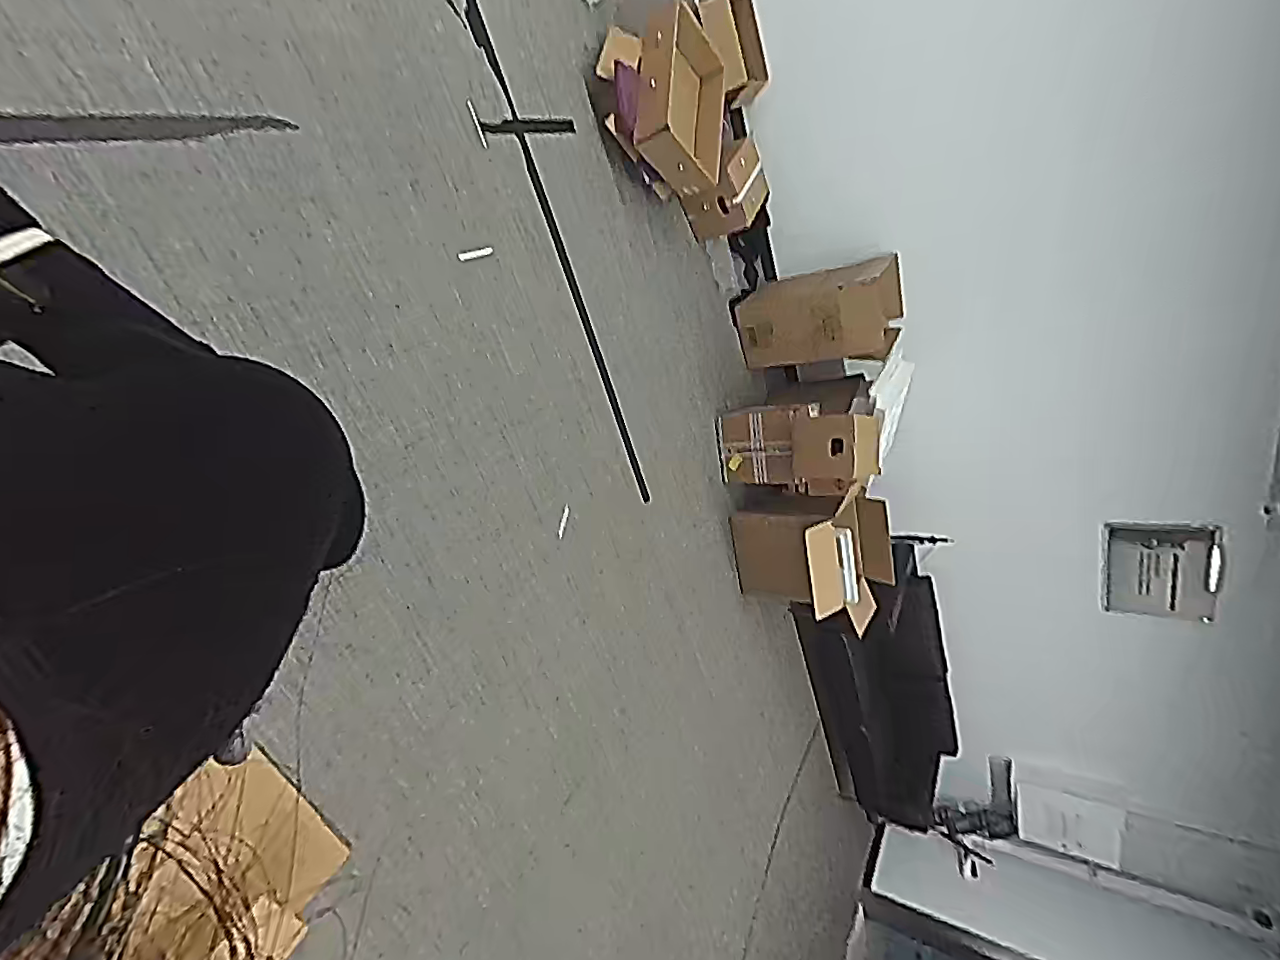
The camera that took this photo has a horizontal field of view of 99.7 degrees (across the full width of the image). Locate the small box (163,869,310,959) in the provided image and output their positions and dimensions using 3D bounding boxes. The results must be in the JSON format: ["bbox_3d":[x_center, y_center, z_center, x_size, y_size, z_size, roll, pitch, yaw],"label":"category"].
[{"bbox_3d":[-0.885,1.008,1.190,0.179,0.176,0.168,-50,126,-42],"label":"small box"}]
